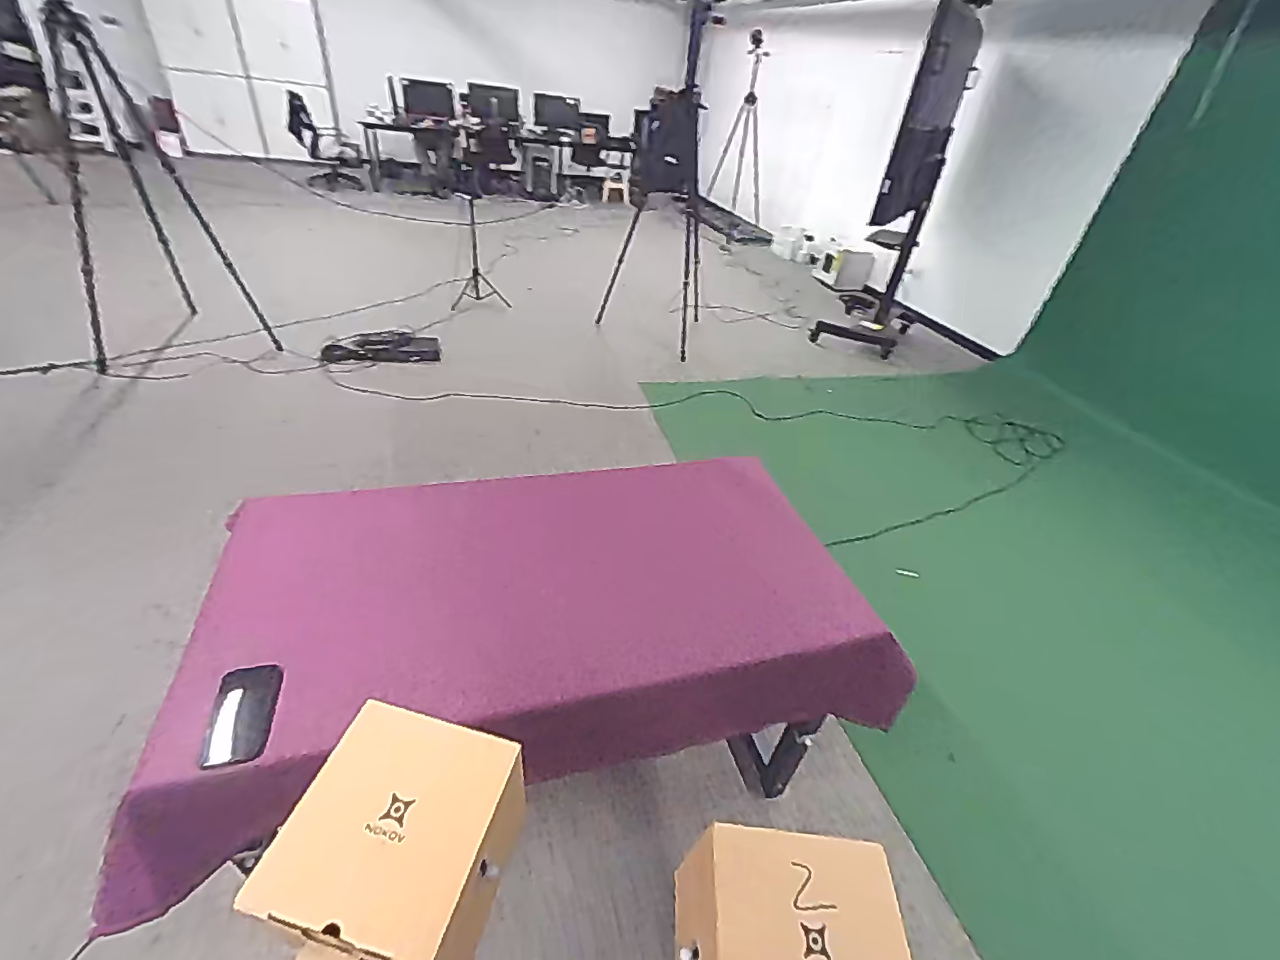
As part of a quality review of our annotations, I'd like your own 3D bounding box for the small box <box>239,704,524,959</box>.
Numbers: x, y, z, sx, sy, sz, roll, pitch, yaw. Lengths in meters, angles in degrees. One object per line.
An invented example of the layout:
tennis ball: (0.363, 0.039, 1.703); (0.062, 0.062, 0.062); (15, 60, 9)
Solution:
small box: (-0.222, 0.356, 0.519); (0.168, 0.176, 0.179); (14, 40, 5)
